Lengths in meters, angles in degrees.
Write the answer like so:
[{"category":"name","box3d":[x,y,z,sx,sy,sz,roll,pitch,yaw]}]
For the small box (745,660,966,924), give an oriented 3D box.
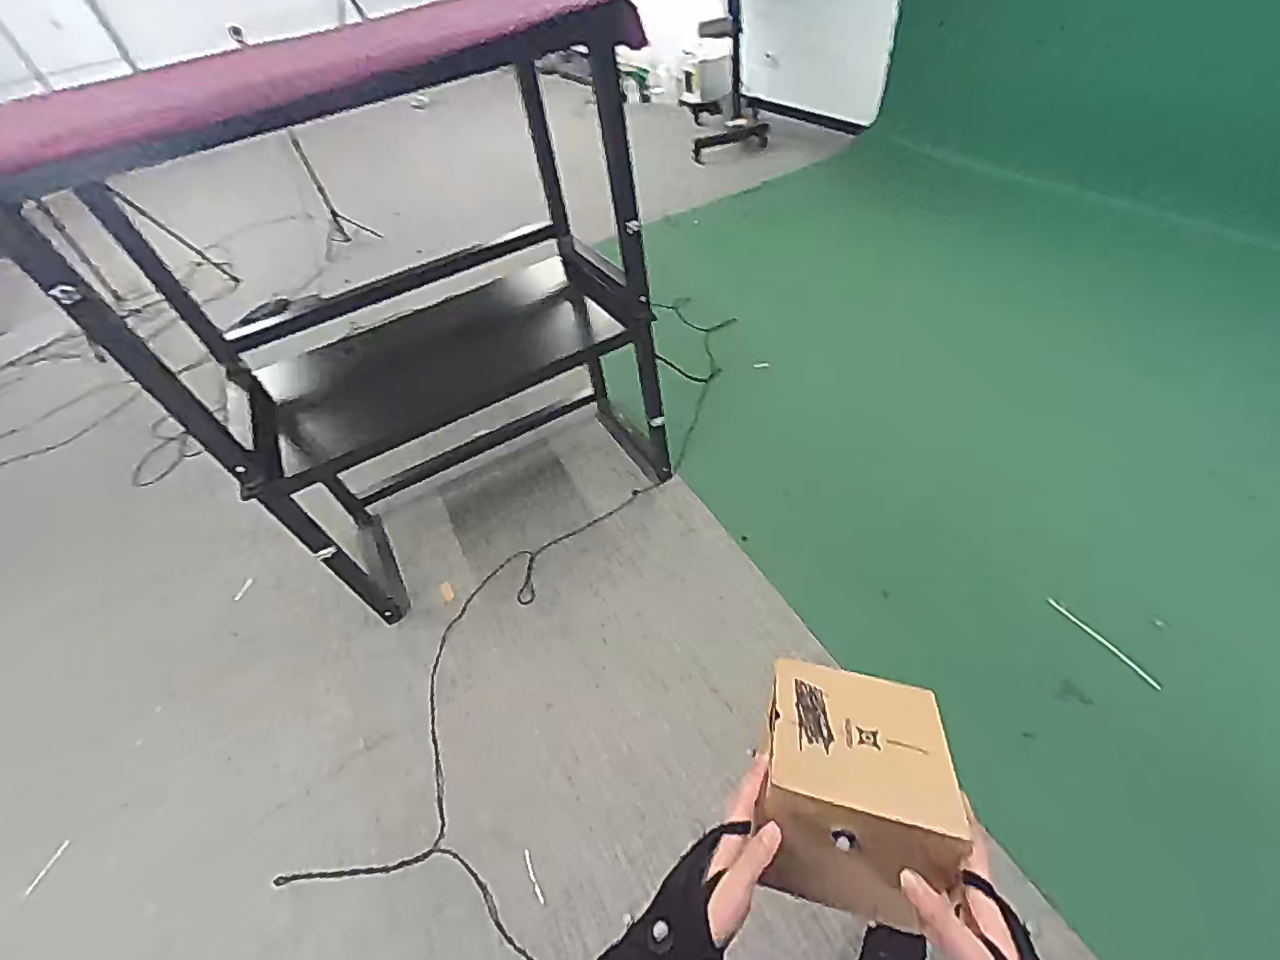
[{"category":"small box","box3d":[0.215,0.332,0.587,0.179,0.176,0.168,10,29,11]}]
